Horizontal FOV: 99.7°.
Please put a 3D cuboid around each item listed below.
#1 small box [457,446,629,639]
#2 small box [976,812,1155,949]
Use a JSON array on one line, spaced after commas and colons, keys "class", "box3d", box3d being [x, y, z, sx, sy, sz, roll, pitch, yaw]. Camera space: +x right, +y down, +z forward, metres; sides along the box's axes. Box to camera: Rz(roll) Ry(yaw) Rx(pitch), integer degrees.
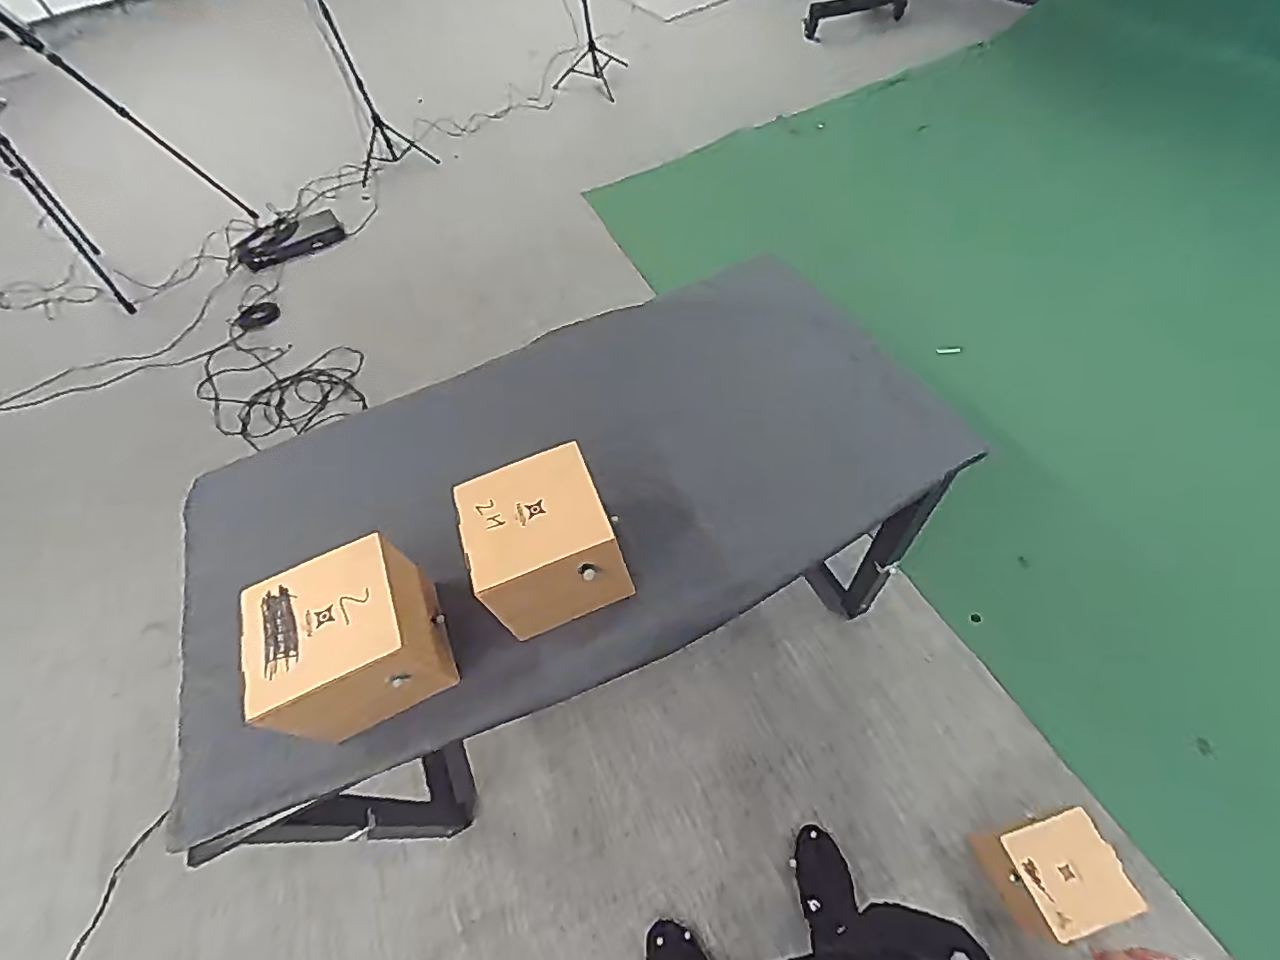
[{"class": "small box", "box3d": [-0.122, 0.089, 0.735, 0.179, 0.176, 0.168, -22, 55, -4]}, {"class": "small box", "box3d": [0.796, 0.754, 1.036, 0.179, 0.176, 0.168, -18, 57, -3]}]
